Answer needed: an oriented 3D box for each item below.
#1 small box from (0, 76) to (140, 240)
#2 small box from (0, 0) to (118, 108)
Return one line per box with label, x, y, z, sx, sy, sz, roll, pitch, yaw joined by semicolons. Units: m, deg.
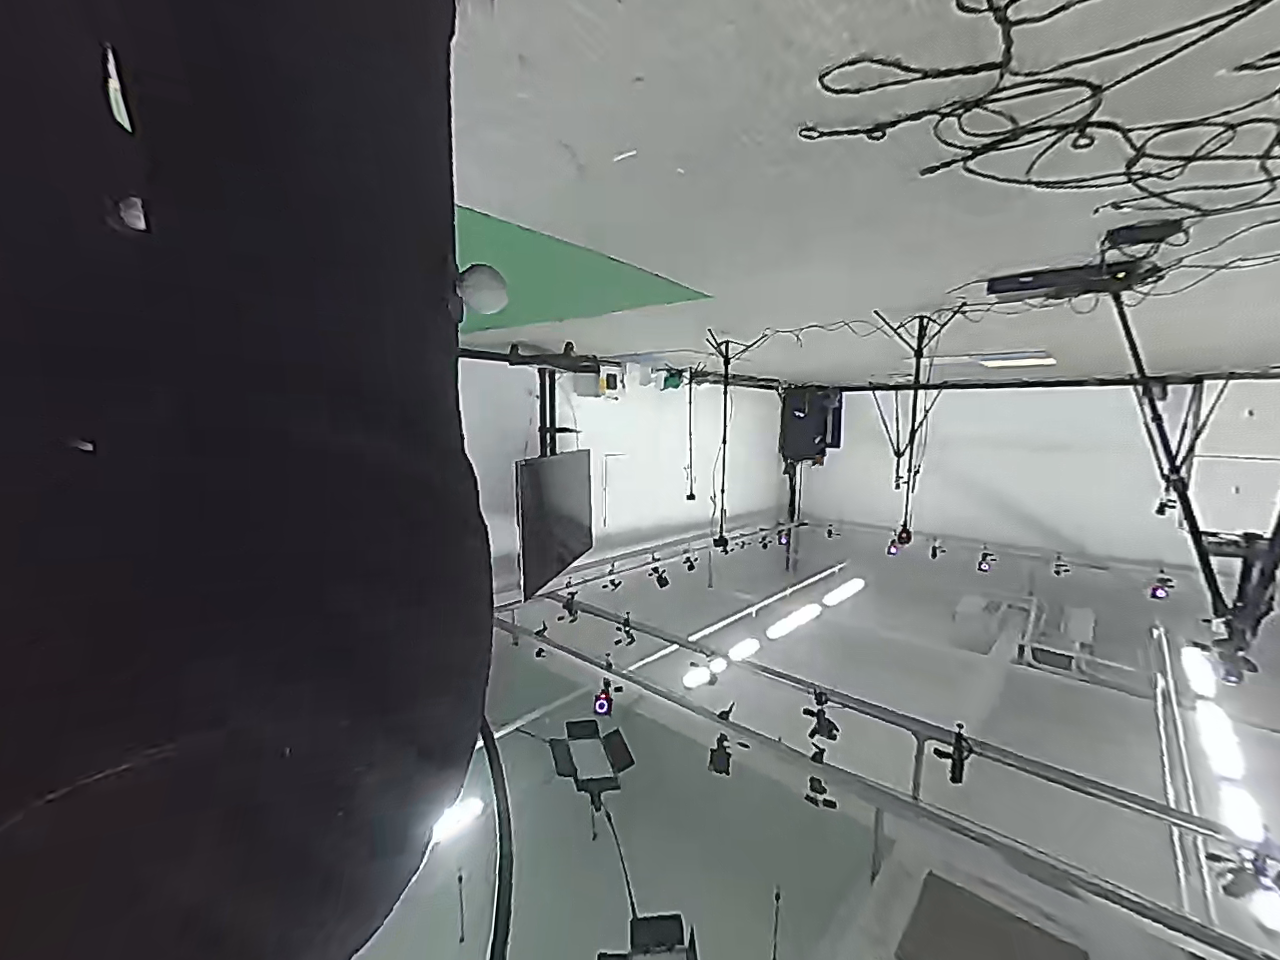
small box;-0.920;-0.500;0.850;0.179;0.176;0.168;-5;-170;-37
small box;-0.929;-0.662;0.834;0.168;0.176;0.179;-4;-171;-39
